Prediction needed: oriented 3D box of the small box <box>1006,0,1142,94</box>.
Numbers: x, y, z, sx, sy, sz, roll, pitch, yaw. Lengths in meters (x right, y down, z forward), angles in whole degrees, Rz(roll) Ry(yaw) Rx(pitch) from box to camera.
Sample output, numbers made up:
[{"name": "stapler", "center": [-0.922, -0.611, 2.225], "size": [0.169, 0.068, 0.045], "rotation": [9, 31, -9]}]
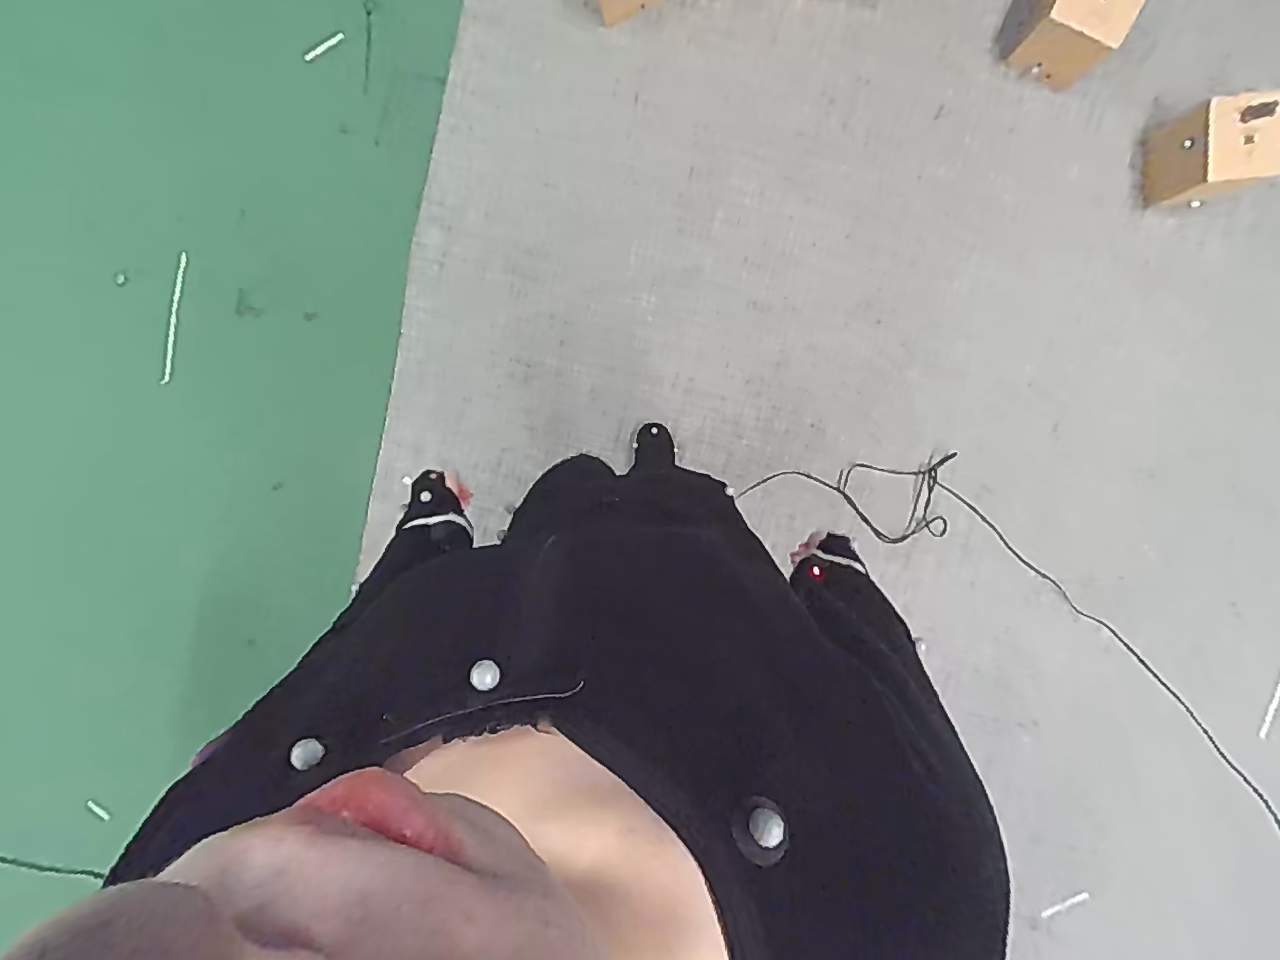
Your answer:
[{"name": "small box", "center": [0.984, -1.040, 1.227], "size": [0.168, 0.176, 0.179], "rotation": [28, 98, 1]}]

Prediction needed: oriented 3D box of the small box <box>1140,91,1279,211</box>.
[{"name": "small box", "center": [1.300, -0.744, 1.237], "size": [0.168, 0.176, 0.179], "rotation": [-4, 96, 5]}]
